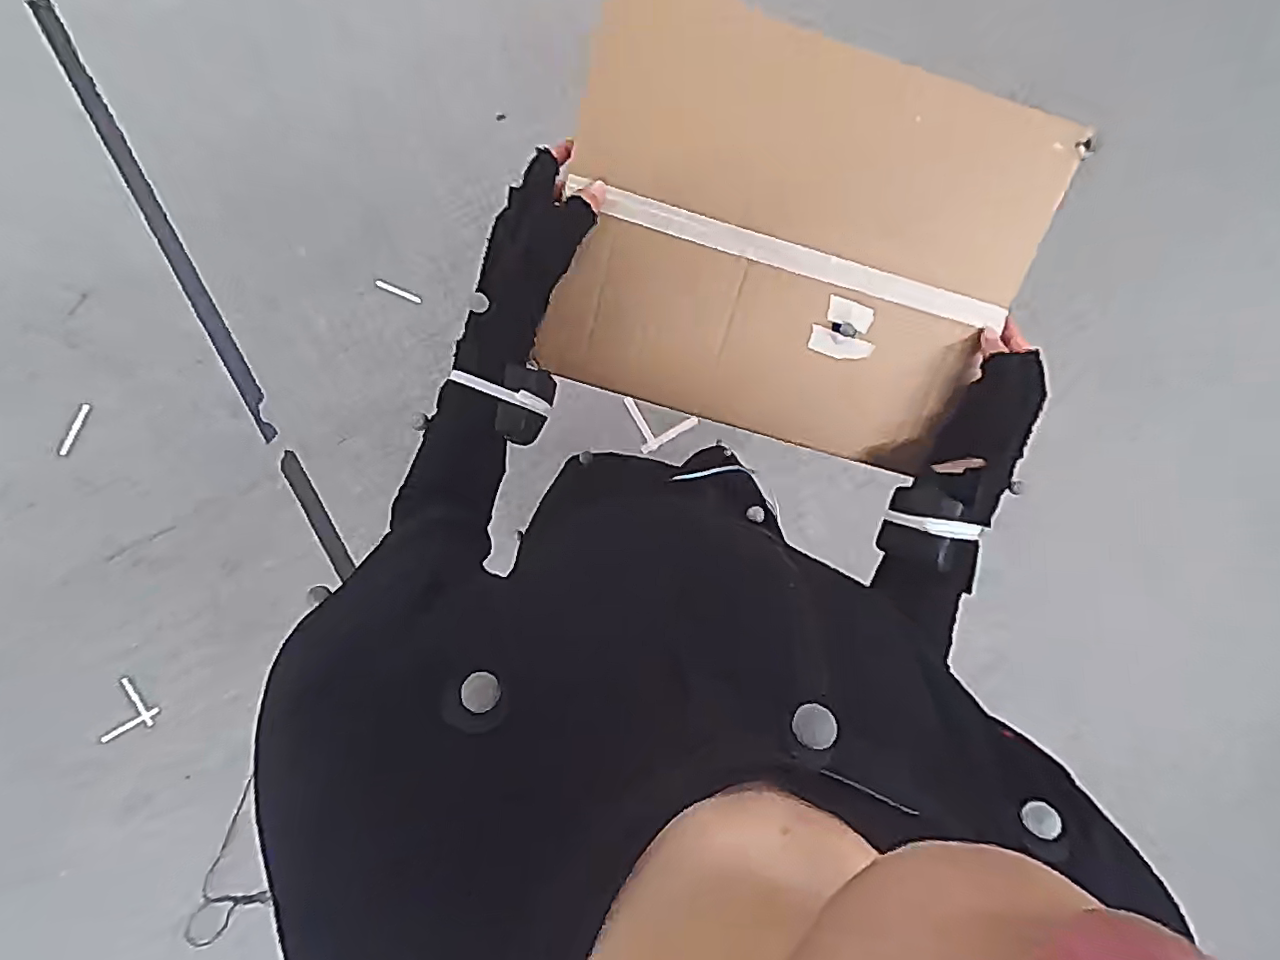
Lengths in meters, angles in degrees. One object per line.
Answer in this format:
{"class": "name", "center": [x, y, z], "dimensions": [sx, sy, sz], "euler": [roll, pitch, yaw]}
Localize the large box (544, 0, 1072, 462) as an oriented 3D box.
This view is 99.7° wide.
{"class": "large box", "center": [0.135, -0.252, 0.627], "dimensions": [0.408, 0.320, 0.320], "euler": [16, 108, -6]}
